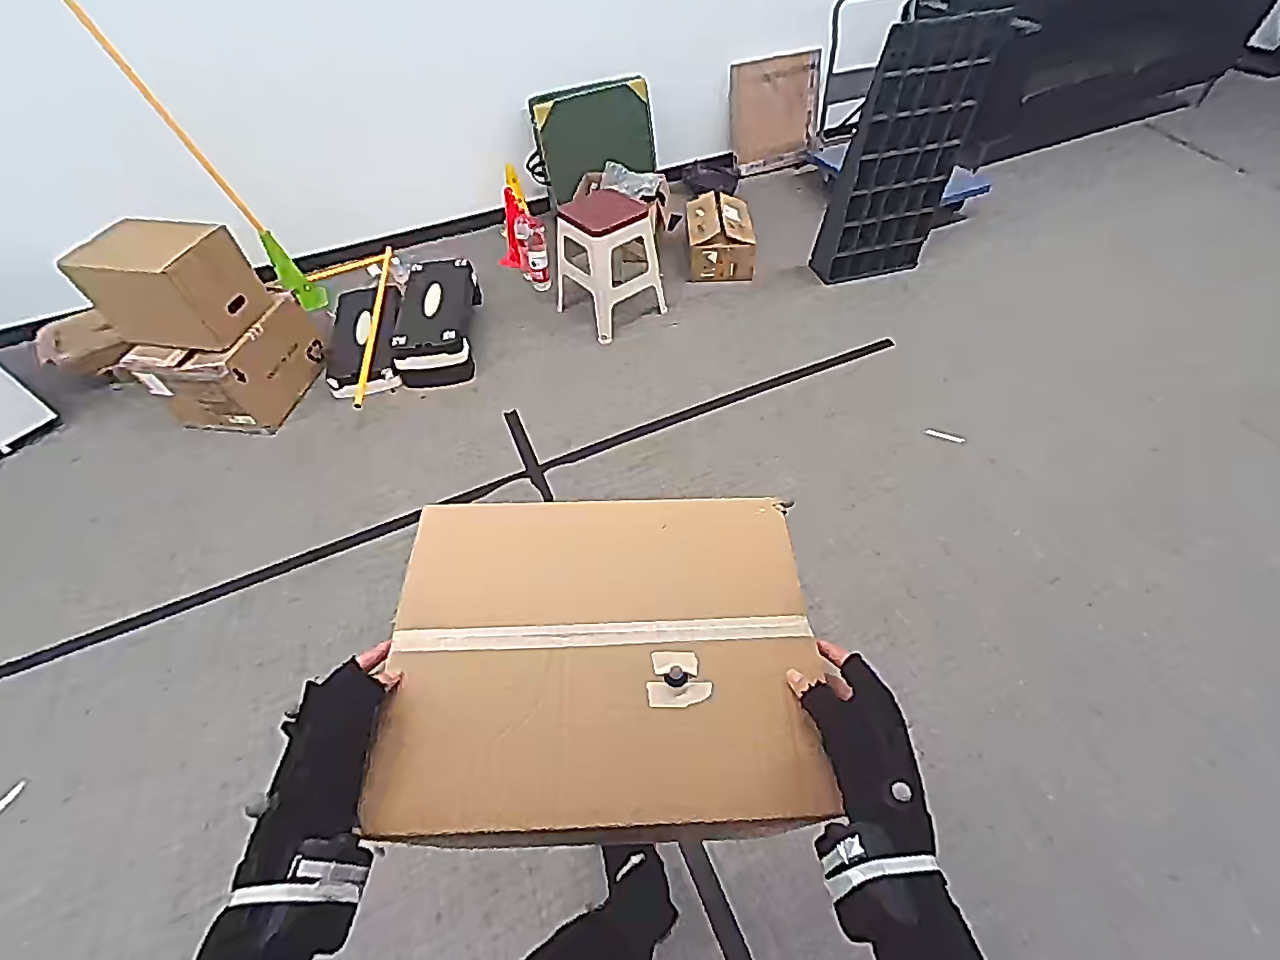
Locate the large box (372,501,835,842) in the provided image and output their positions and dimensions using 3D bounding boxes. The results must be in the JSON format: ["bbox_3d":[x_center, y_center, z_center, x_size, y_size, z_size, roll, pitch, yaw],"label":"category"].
[{"bbox_3d":[-0.038,0.241,0.664,0.408,0.320,0.320,-1,54,-2],"label":"large box"}]
